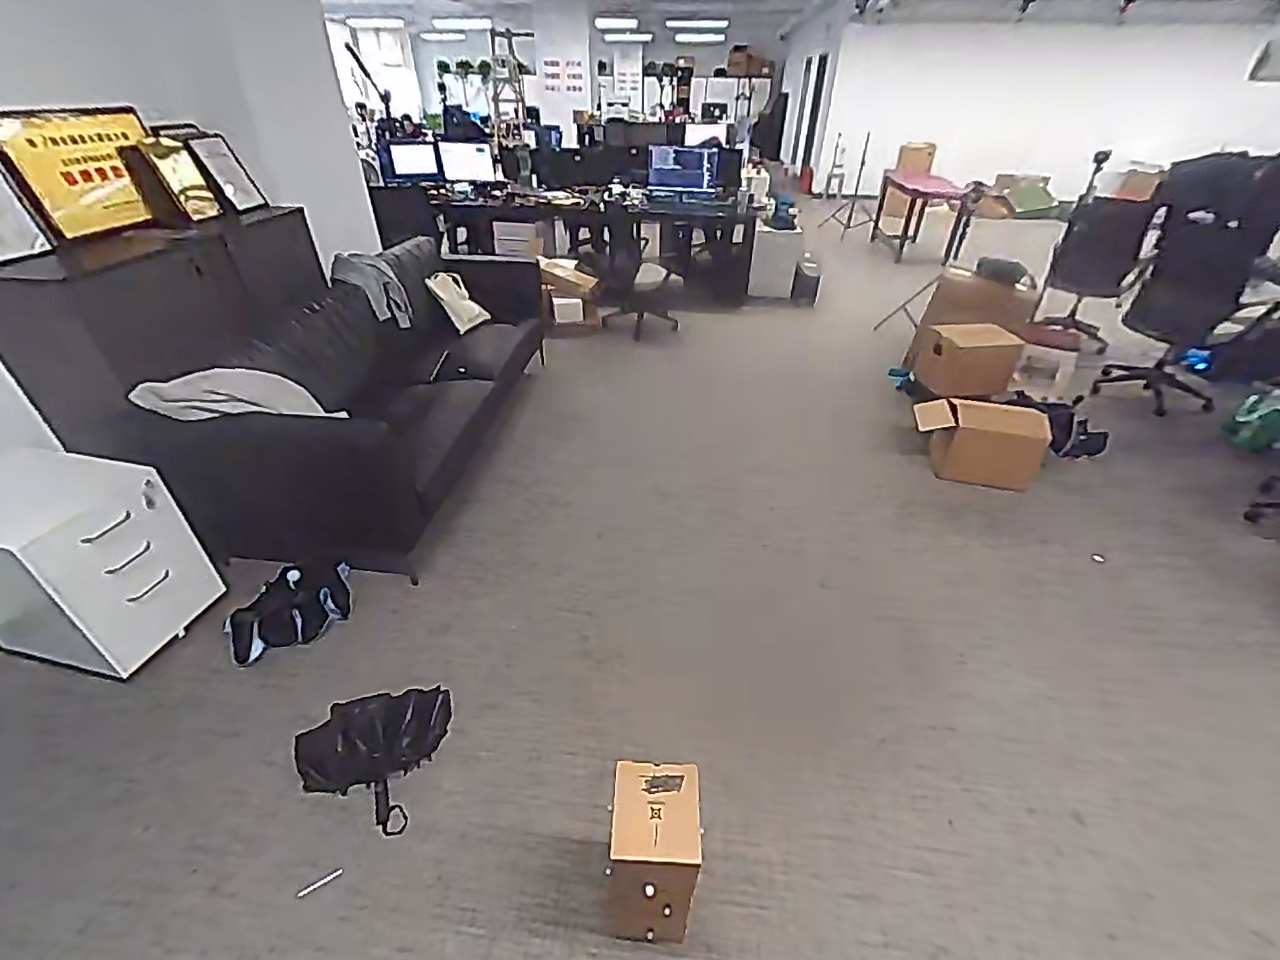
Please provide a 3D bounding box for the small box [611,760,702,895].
[{"bbox_3d":[0.030,0.692,1.080,0.168,0.176,0.179,2,37,0],"label":"small box"}]

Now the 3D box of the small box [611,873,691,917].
[{"bbox_3d":[0.029,0.820,1.183,0.168,0.176,0.179,4,35,3],"label":"small box"}]
